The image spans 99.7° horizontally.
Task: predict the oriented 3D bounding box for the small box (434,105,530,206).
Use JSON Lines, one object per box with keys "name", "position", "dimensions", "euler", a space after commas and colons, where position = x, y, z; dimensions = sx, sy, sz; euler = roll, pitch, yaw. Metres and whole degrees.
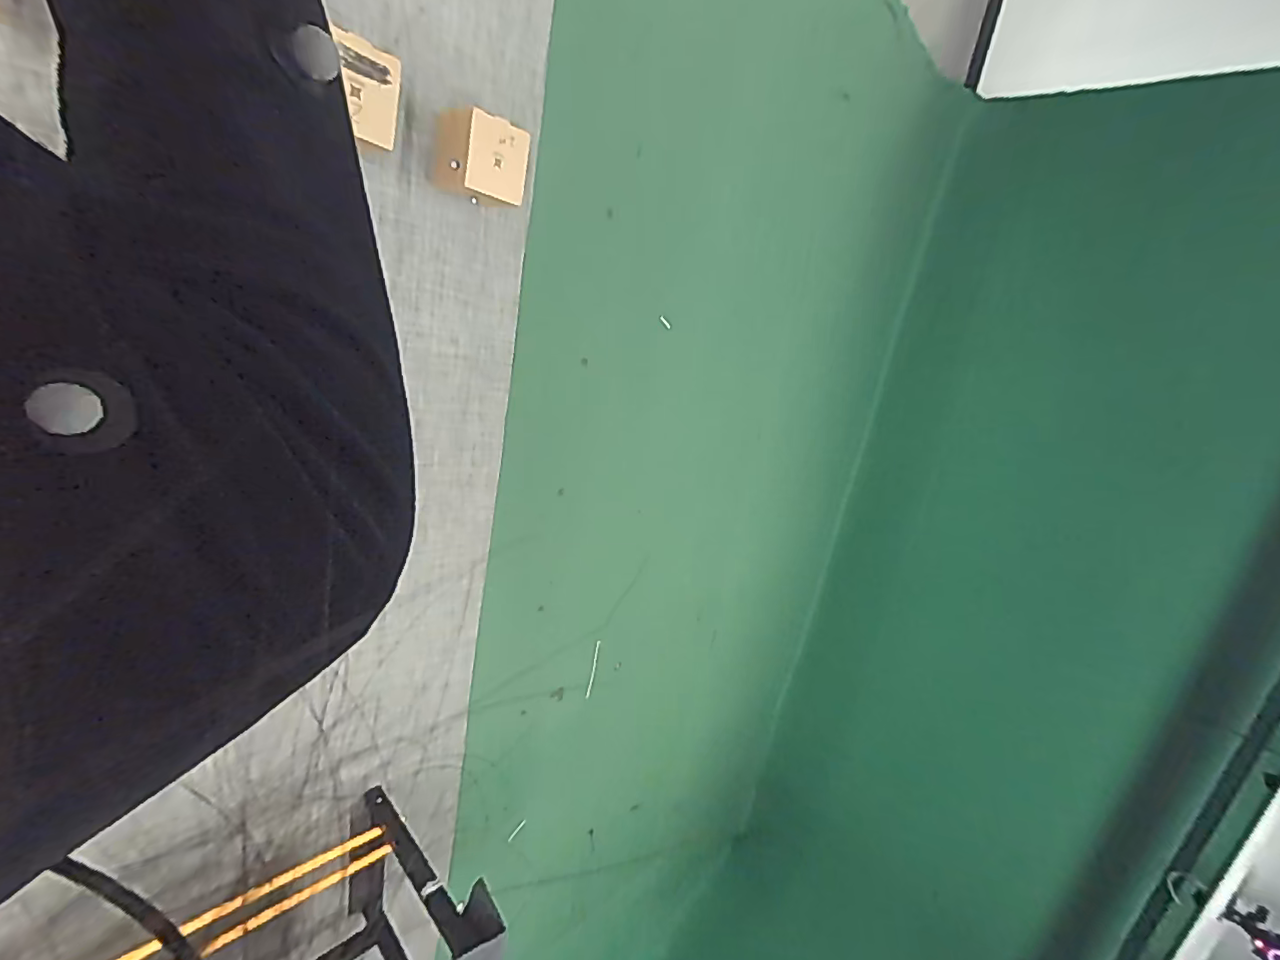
{"name": "small box", "position": [-0.407, -0.816, 1.376], "dimensions": [0.168, 0.176, 0.179], "euler": [-6, 113, -48]}
